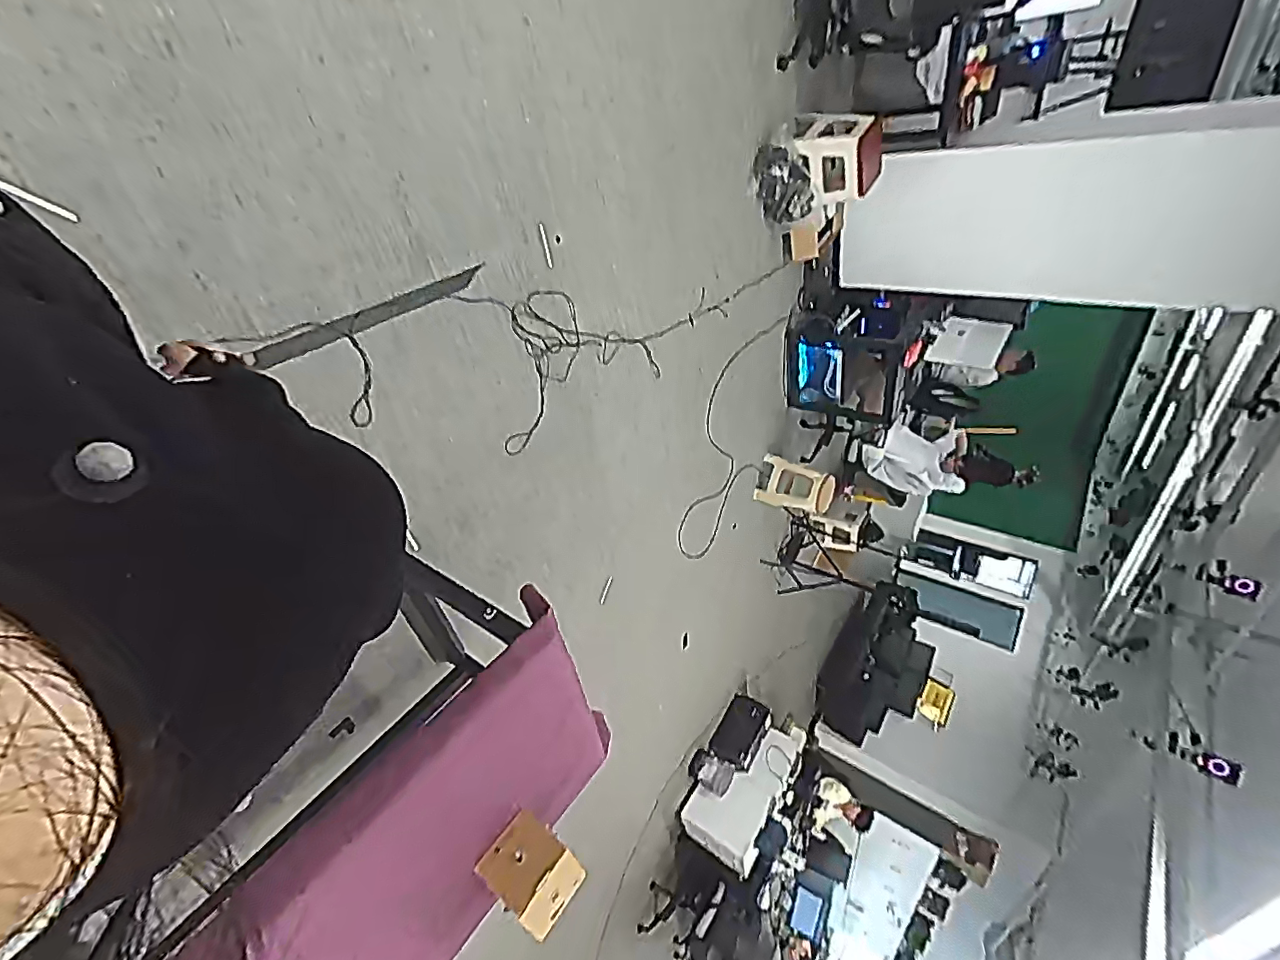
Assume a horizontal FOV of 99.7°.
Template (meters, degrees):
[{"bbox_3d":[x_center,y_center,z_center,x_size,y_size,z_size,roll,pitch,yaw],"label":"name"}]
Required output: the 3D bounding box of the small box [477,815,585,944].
[{"bbox_3d":[-0.265,0.961,1.316,0.168,0.176,0.179,-42,134,-35],"label":"small box"}]
